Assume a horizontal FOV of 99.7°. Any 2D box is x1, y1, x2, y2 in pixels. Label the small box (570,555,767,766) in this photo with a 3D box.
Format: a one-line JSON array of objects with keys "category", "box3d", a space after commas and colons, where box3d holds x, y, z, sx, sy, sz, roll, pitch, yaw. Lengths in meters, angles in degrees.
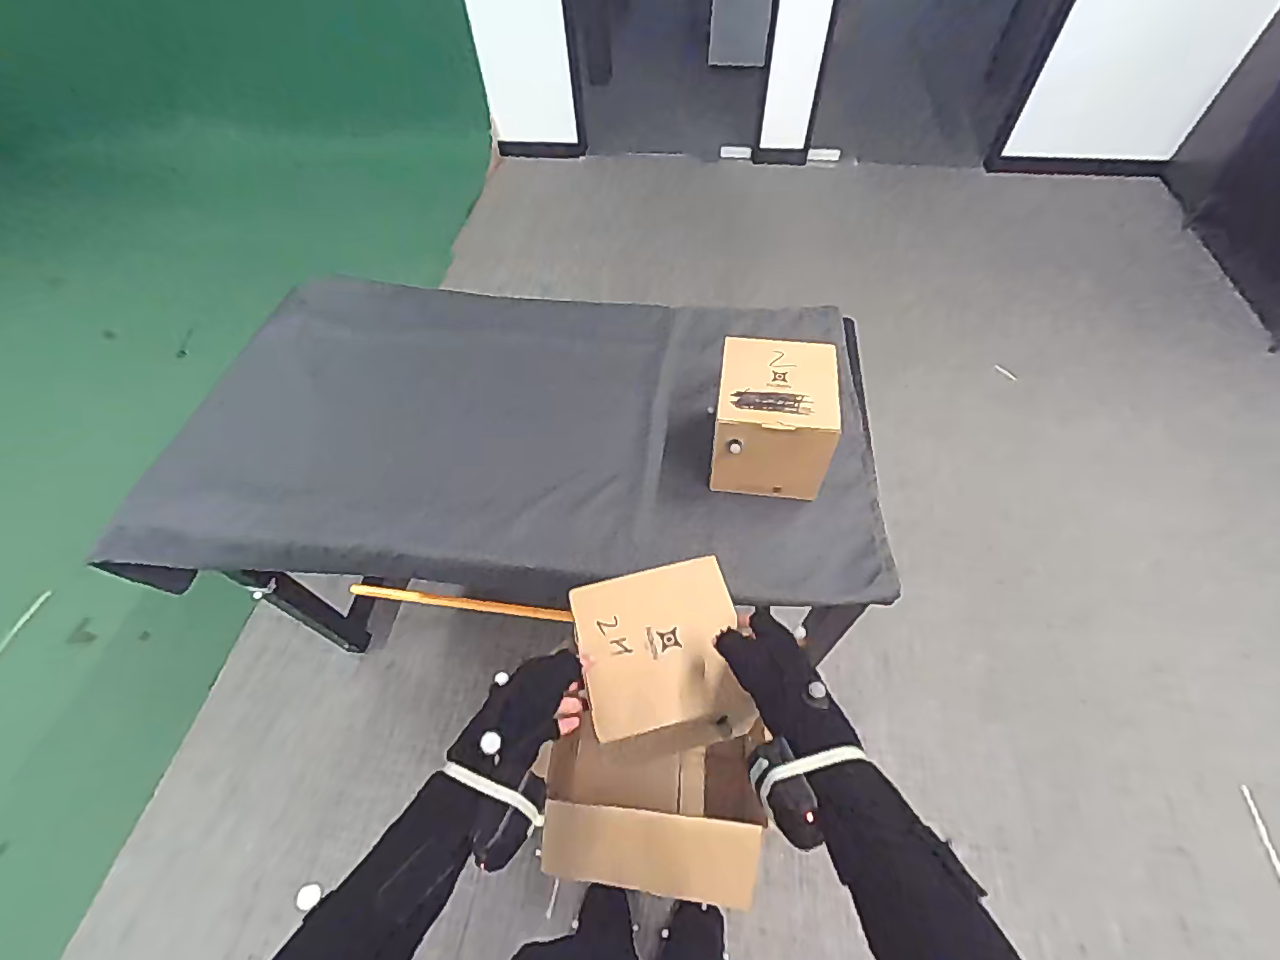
[{"category": "small box", "box3d": [0.026, 0.213, 0.630, 0.179, 0.176, 0.168, -13, 54, -6]}]
